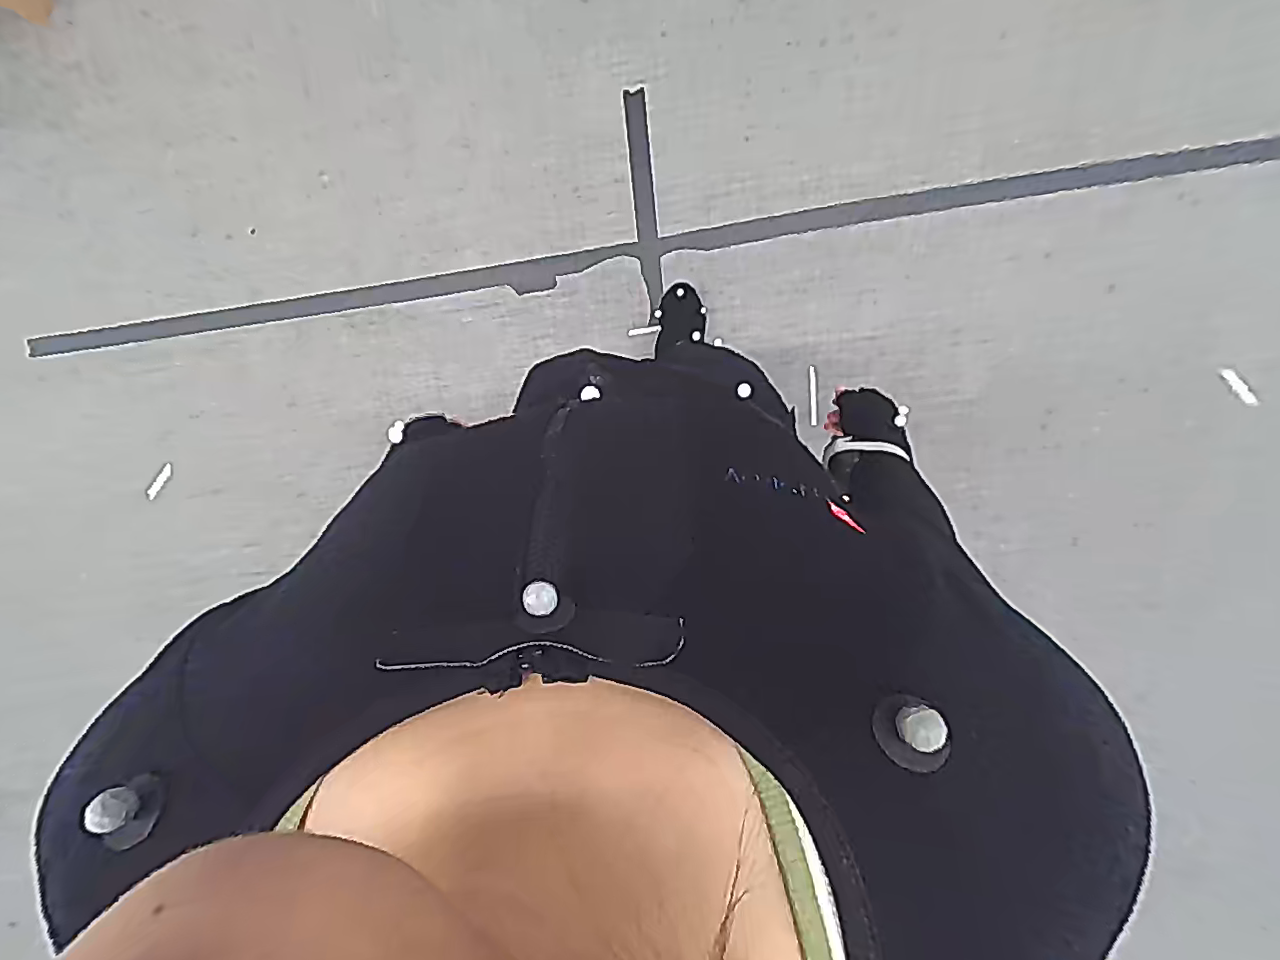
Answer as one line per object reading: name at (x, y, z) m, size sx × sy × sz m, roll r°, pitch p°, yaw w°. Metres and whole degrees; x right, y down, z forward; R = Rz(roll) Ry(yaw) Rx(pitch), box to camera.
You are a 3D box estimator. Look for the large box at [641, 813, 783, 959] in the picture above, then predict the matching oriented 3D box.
large box at (0.212, 1.298, 1.699) m, size 0.408 × 0.320 × 0.320 m, roll 1°, pitch 105°, yaw 3°
